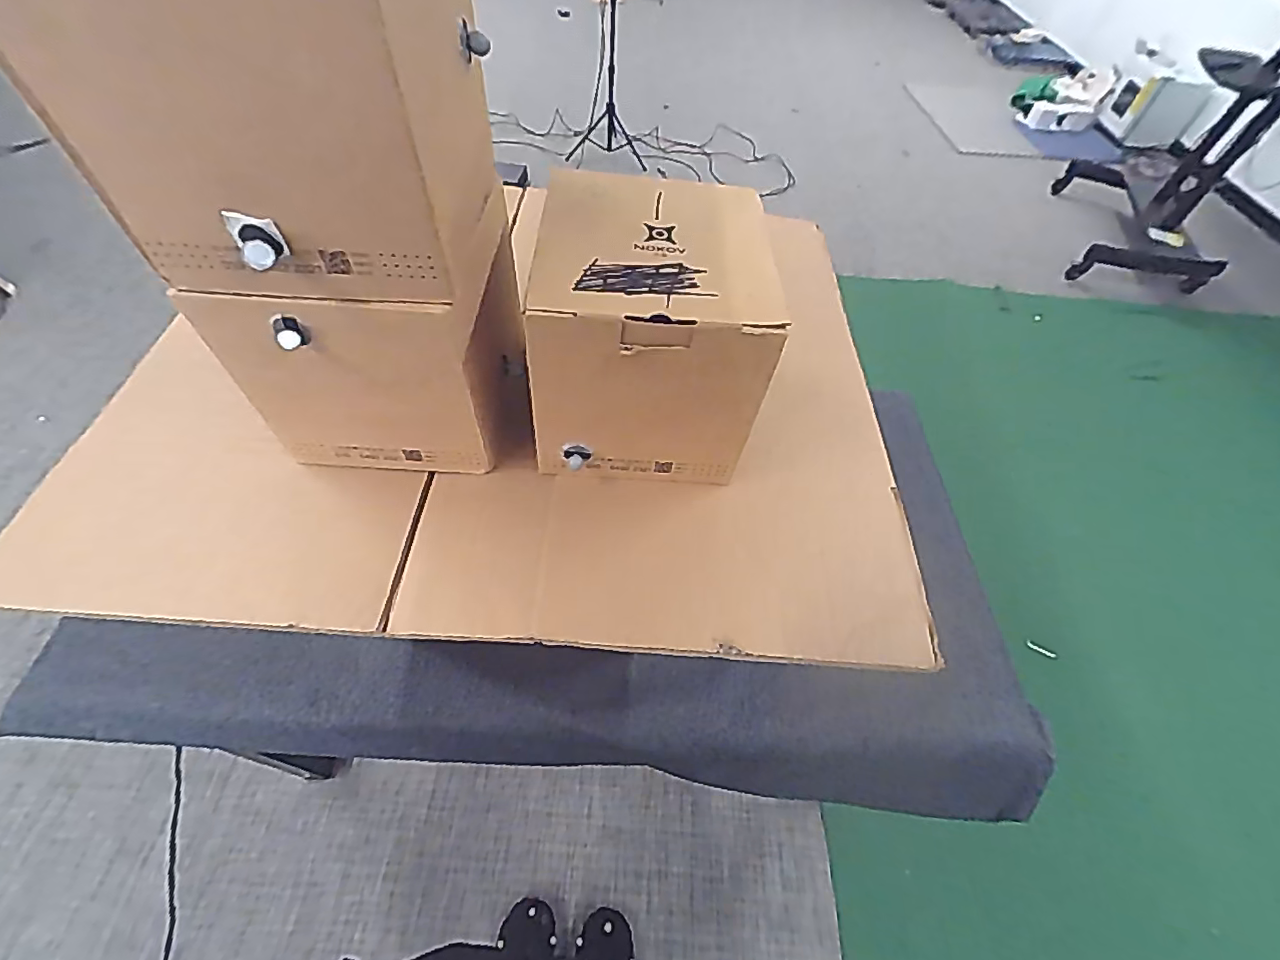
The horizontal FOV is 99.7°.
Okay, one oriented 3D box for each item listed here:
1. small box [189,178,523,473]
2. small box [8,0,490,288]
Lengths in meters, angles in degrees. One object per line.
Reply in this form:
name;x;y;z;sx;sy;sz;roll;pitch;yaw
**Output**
small box;-0.196;-0.128;0.444;0.168;0.176;0.179;3;54;-1
small box;-0.186;-0.233;0.301;0.168;0.176;0.179;0;56;-3
